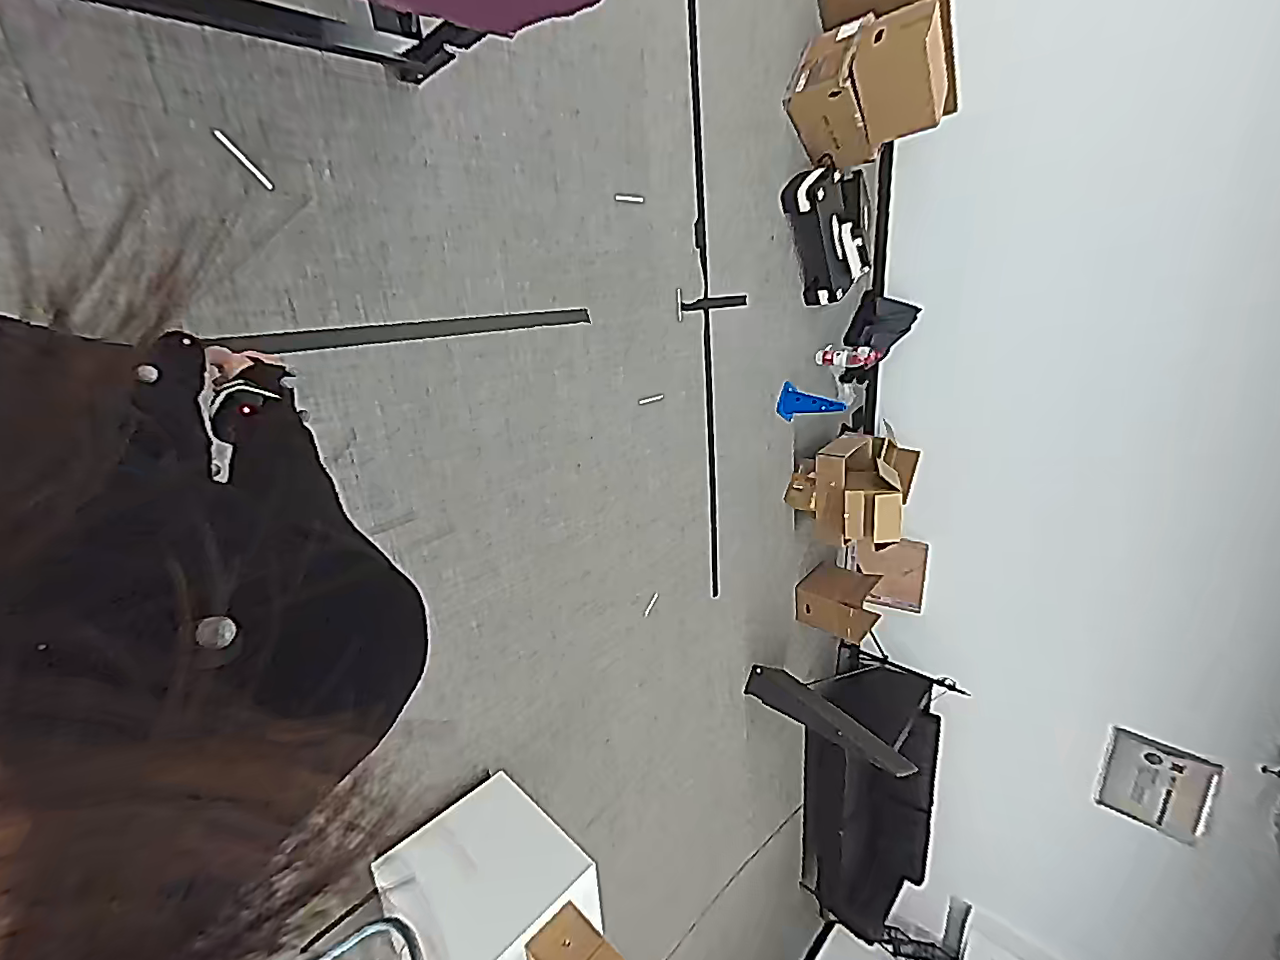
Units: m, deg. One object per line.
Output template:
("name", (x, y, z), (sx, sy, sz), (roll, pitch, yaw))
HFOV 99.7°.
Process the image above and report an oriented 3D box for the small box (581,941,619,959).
("small box", (-0.110, 1.458, 1.506), (0.168, 0.176, 0.179), (-19, 115, -44))
